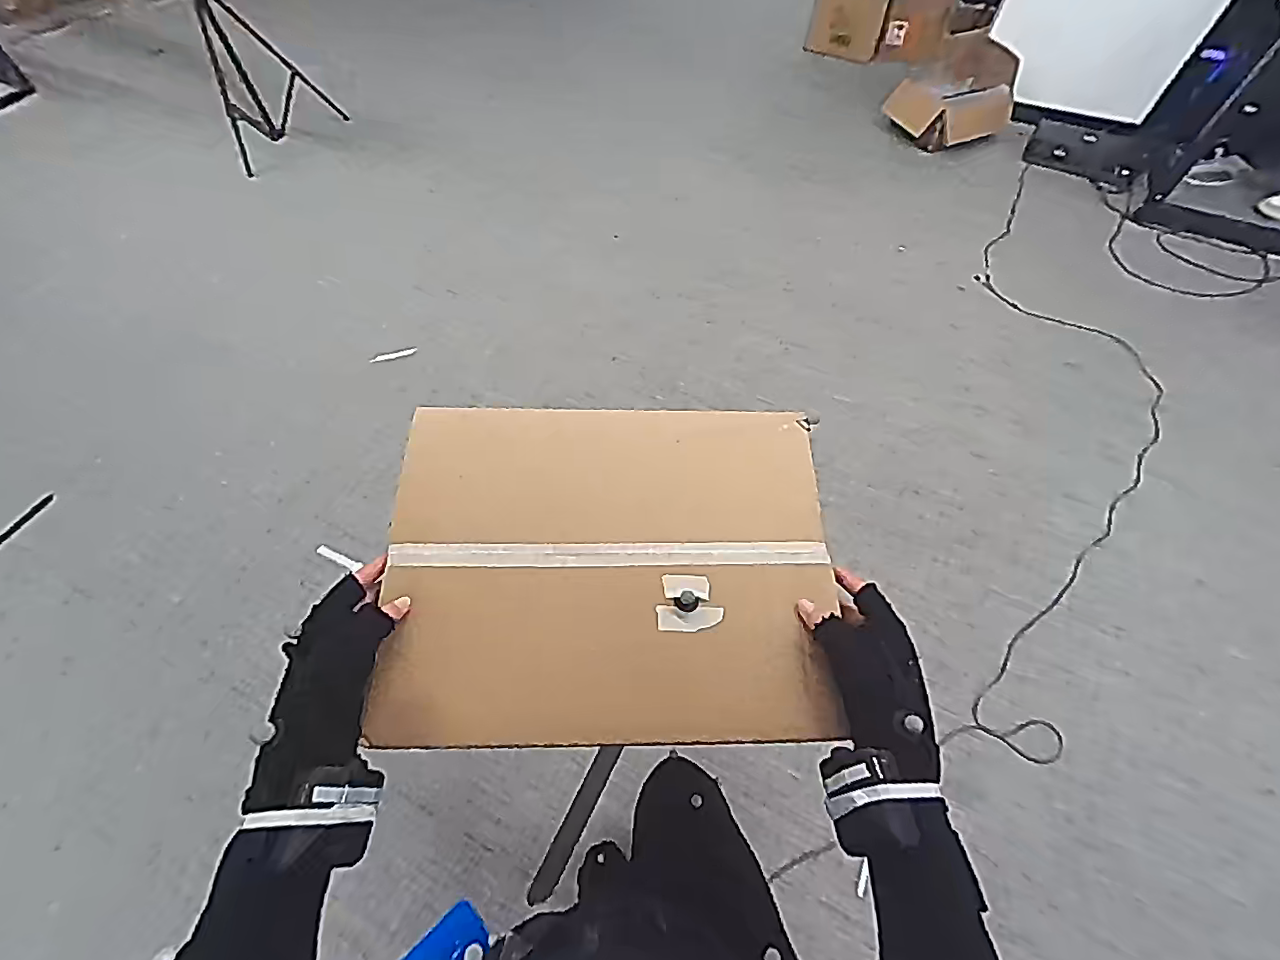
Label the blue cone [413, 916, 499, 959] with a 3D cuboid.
[{"bbox_3d":[-0.376,0.929,0.937,0.192,0.380,0.193,-38,65,-20],"label":"blue cone"}]

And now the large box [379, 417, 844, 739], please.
[{"bbox_3d":[-0.031,0.136,0.653,0.408,0.320,0.320,1,65,-2],"label":"large box"}]
